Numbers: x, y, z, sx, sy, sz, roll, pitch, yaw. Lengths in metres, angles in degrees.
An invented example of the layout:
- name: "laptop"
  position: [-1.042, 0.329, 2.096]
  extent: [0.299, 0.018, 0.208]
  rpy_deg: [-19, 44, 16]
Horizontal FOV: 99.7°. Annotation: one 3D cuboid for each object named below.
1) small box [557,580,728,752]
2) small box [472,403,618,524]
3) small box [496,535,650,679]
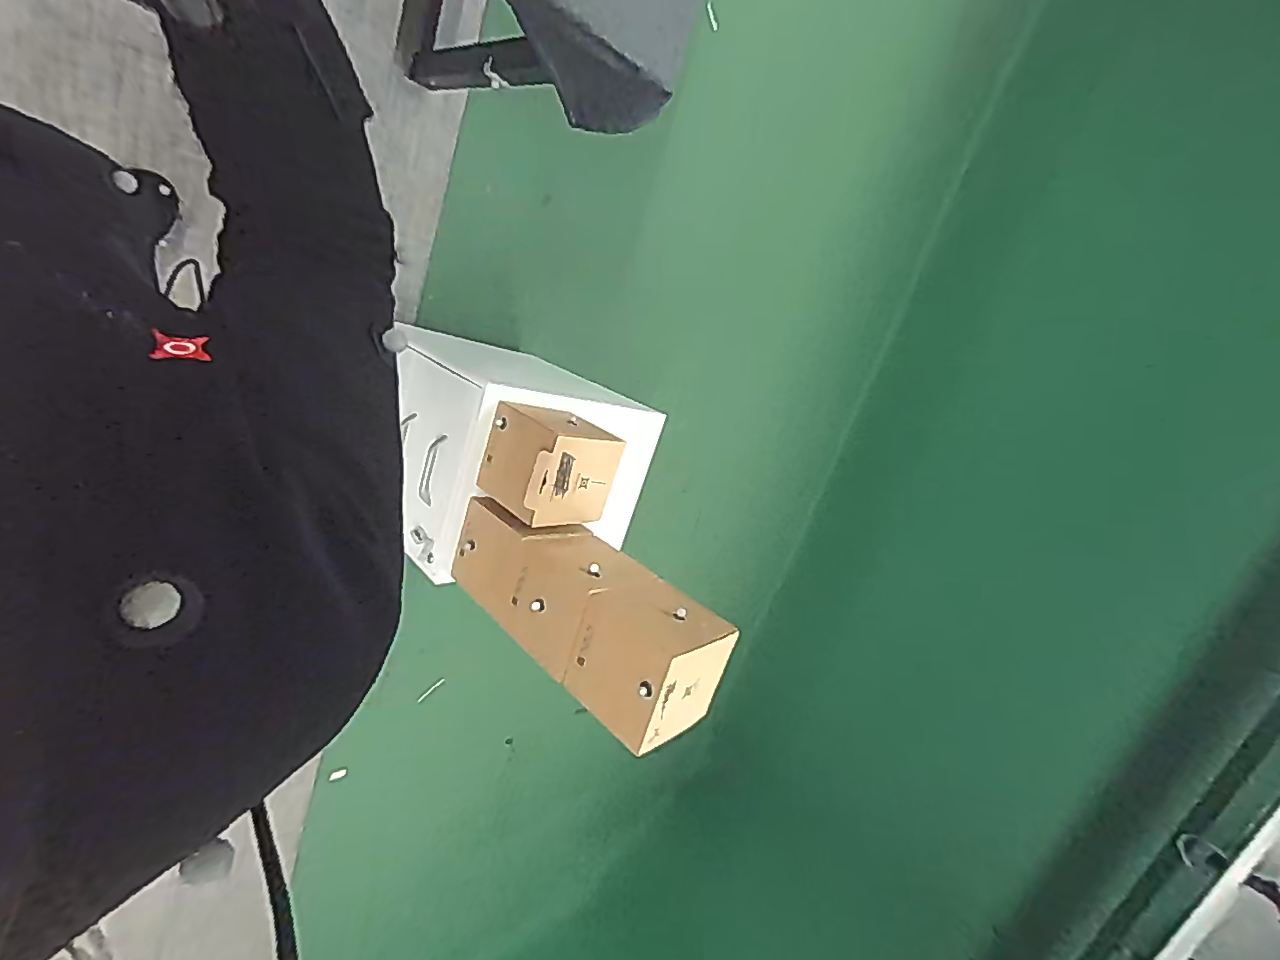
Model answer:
- name: "small box"
  position: [0.002, 0.273, 0.844]
  extent: [0.179, 0.176, 0.168]
  rpy_deg: [-1, 113, -52]
- name: "small box"
  position: [-0.176, -0.032, 0.982]
  extent: [0.179, 0.176, 0.168]
  rpy_deg: [1, 113, -53]
- name: "small box"
  position: [-0.119, 0.206, 0.931]
  extent: [0.179, 0.176, 0.168]
  rpy_deg: [3, 111, -52]
